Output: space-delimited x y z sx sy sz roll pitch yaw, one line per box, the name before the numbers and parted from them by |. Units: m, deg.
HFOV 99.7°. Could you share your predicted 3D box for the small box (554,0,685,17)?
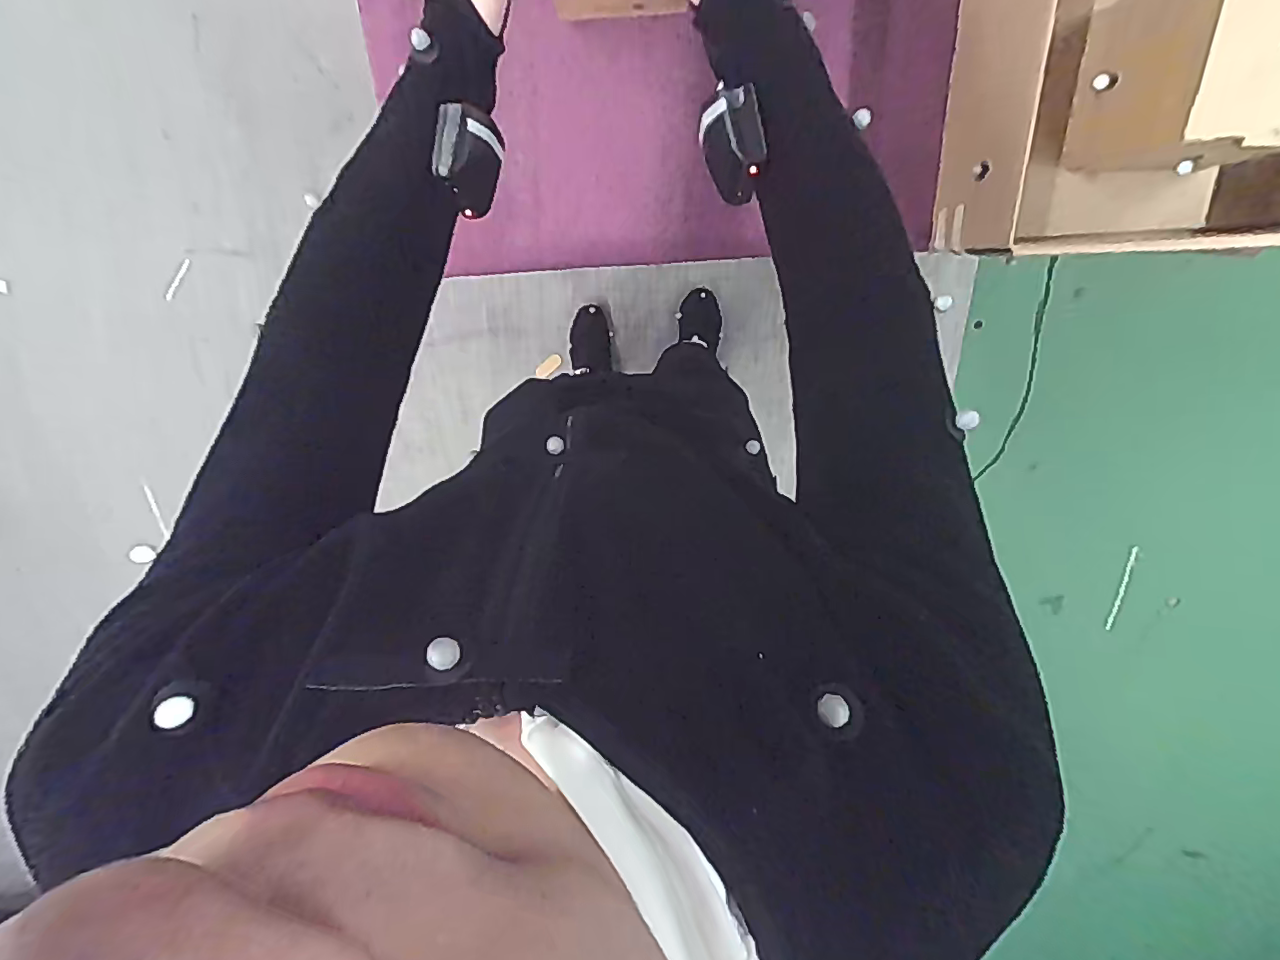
small box | -0.029 -0.642 0.590 0.168 0.176 0.179 -2 110 2
